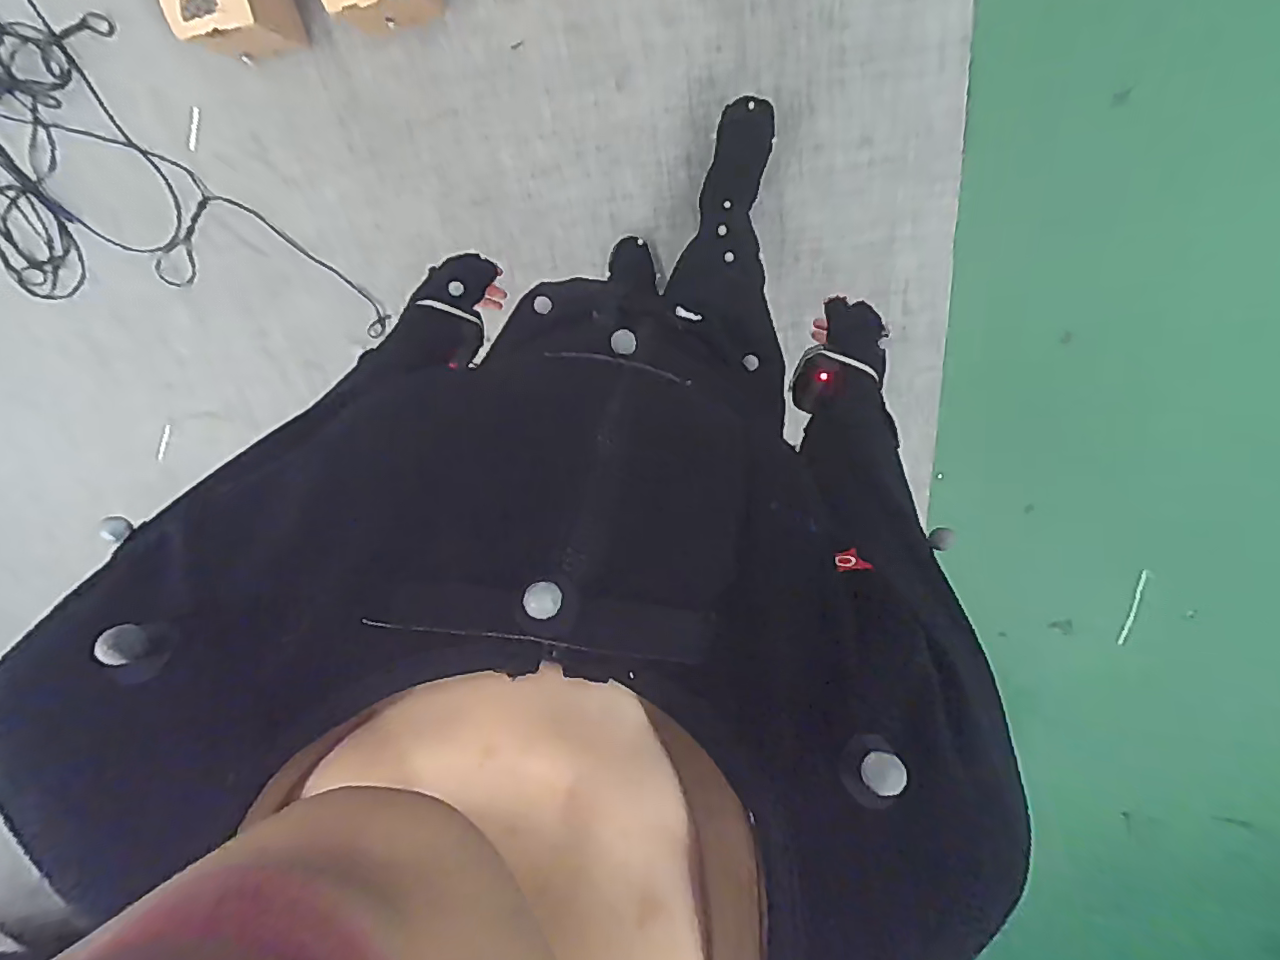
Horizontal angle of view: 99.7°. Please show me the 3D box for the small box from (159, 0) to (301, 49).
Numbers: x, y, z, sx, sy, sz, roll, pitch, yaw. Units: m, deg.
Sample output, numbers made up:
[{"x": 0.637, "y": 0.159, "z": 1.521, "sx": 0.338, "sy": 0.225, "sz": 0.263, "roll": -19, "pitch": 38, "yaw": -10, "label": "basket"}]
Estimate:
[{"x": -0.790, "y": -0.945, "z": 1.024, "sx": 0.168, "sy": 0.176, "sz": 0.179, "roll": -5, "pitch": 117, "yaw": 5, "label": "small box"}]

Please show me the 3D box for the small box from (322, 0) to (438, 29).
[{"x": -0.502, "y": -0.976, "z": 0.994, "sx": 0.168, "sy": 0.176, "sz": 0.179, "roll": -9, "pitch": 119, "yaw": 8, "label": "small box"}]
